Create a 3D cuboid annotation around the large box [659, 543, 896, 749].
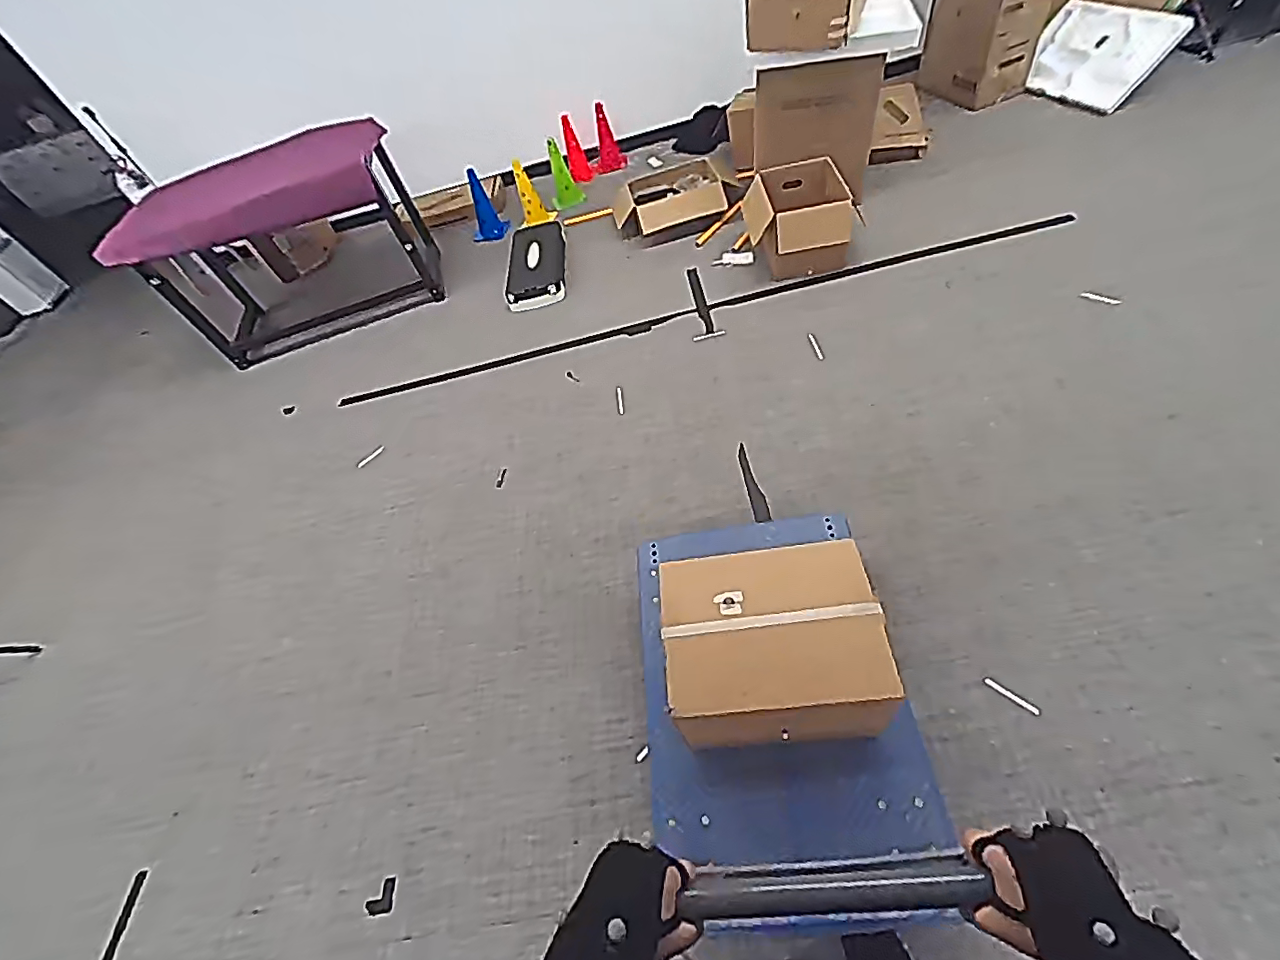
[{"bbox_3d":[0.276,0.370,1.165,0.408,0.320,0.320,-10,51,9],"label":"large box"}]
